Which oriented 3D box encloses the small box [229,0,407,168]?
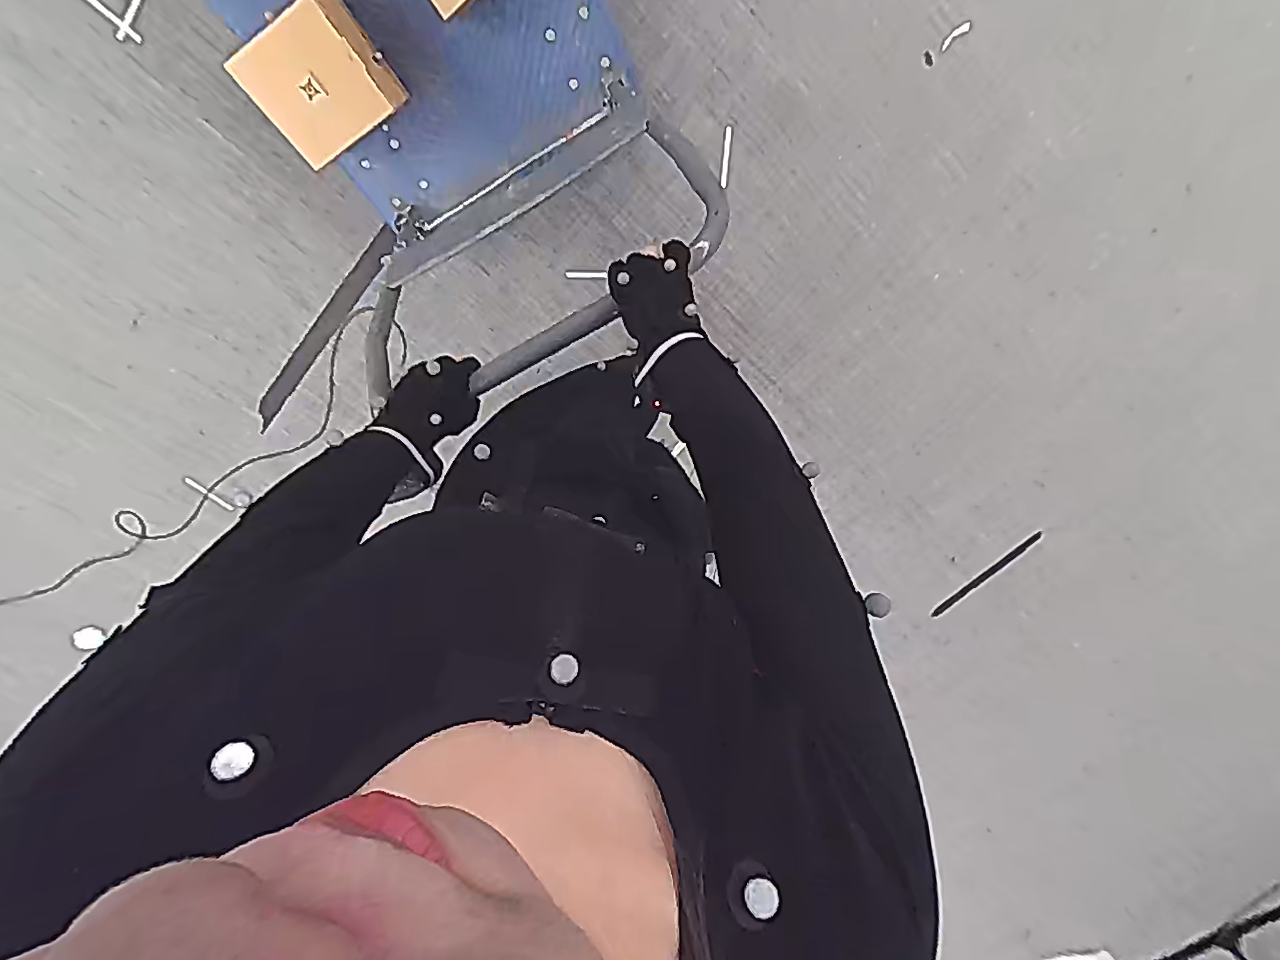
[{"bbox_3d":[-0.516,-0.659,0.896,0.179,0.176,0.168,-30,130,11],"label":"small box"}]

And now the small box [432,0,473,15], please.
[{"bbox_3d":[-0.276,-0.833,0.796,0.179,0.176,0.168,-32,130,15],"label":"small box"}]
